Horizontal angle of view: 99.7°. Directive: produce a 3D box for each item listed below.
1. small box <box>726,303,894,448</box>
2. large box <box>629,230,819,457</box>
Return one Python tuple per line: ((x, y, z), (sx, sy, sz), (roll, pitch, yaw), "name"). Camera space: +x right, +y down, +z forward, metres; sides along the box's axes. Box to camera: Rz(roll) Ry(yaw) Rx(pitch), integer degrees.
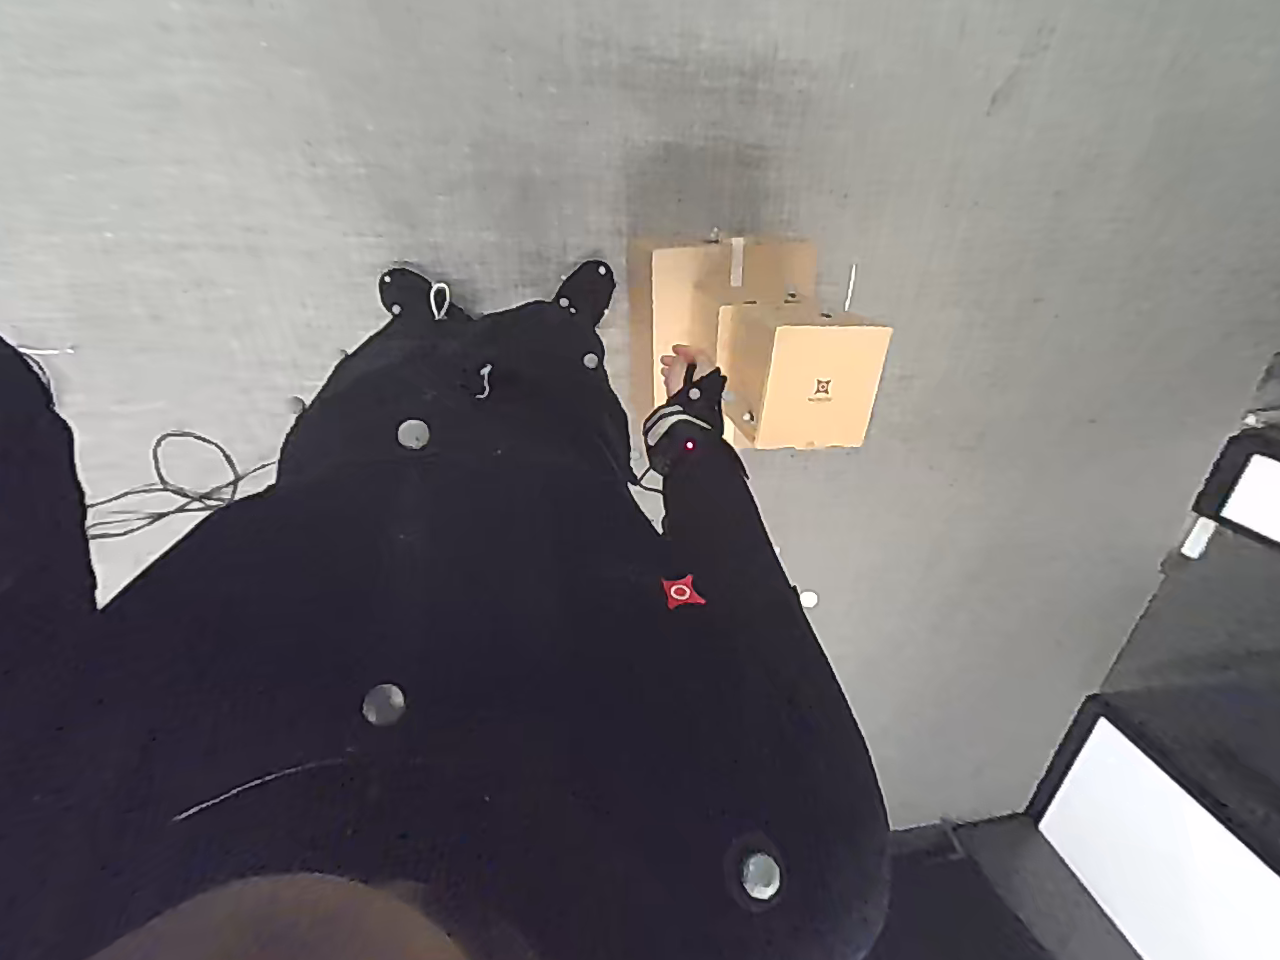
((0.237, -0.161, 0.803), (0.168, 0.176, 0.179), (-2, 118, -10), "small box")
((0.158, -0.308, 1.176), (0.320, 0.320, 0.408), (-6, 119, -7), "large box")
